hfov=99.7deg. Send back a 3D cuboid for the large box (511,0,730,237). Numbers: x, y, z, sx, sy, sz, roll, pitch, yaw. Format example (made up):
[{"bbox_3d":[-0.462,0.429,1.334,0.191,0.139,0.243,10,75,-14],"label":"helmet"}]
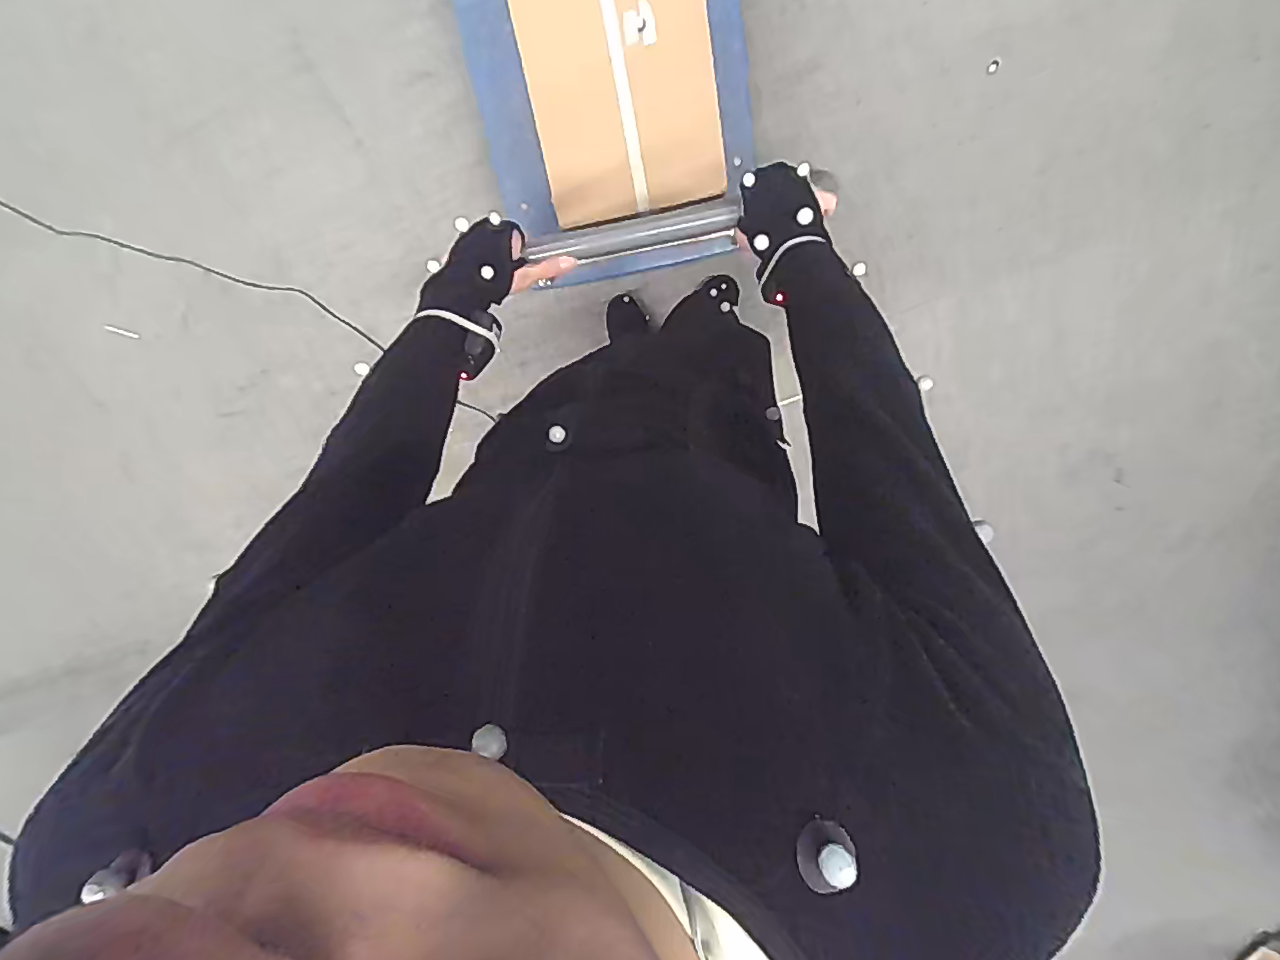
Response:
[{"bbox_3d":[-0.024,-0.721,1.044,0.320,0.320,0.408,-10,111,4],"label":"large box"}]
